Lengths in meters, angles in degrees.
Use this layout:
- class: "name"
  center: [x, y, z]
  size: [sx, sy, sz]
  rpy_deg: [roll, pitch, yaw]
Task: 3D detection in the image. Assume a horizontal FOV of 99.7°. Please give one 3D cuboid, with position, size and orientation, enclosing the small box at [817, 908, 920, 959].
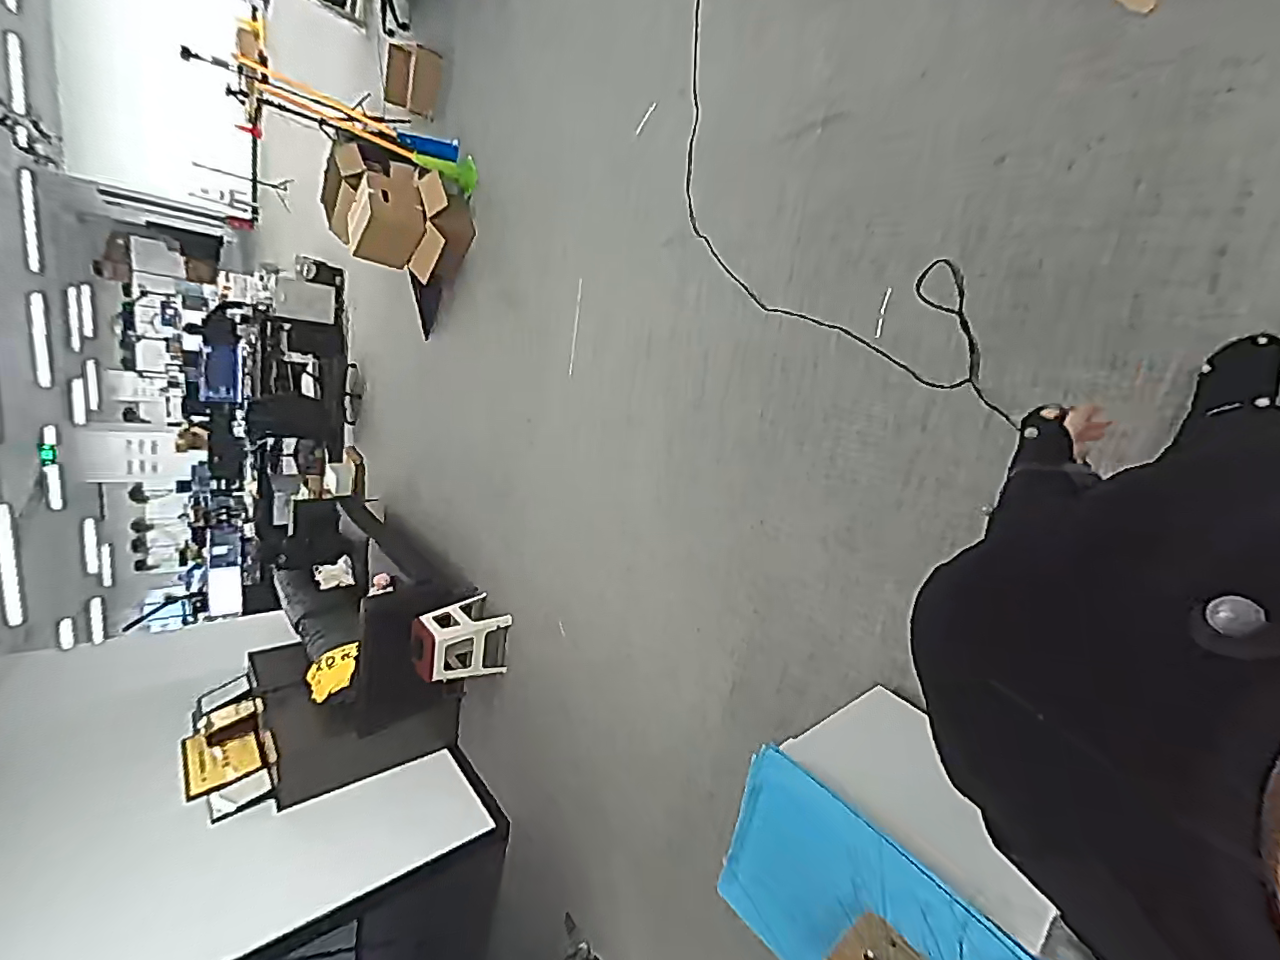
- class: "small box"
  center: [0.394, 0.895, 0.922]
  size: [0.168, 0.176, 0.179]
  rpy_deg: [27, 113, 46]
